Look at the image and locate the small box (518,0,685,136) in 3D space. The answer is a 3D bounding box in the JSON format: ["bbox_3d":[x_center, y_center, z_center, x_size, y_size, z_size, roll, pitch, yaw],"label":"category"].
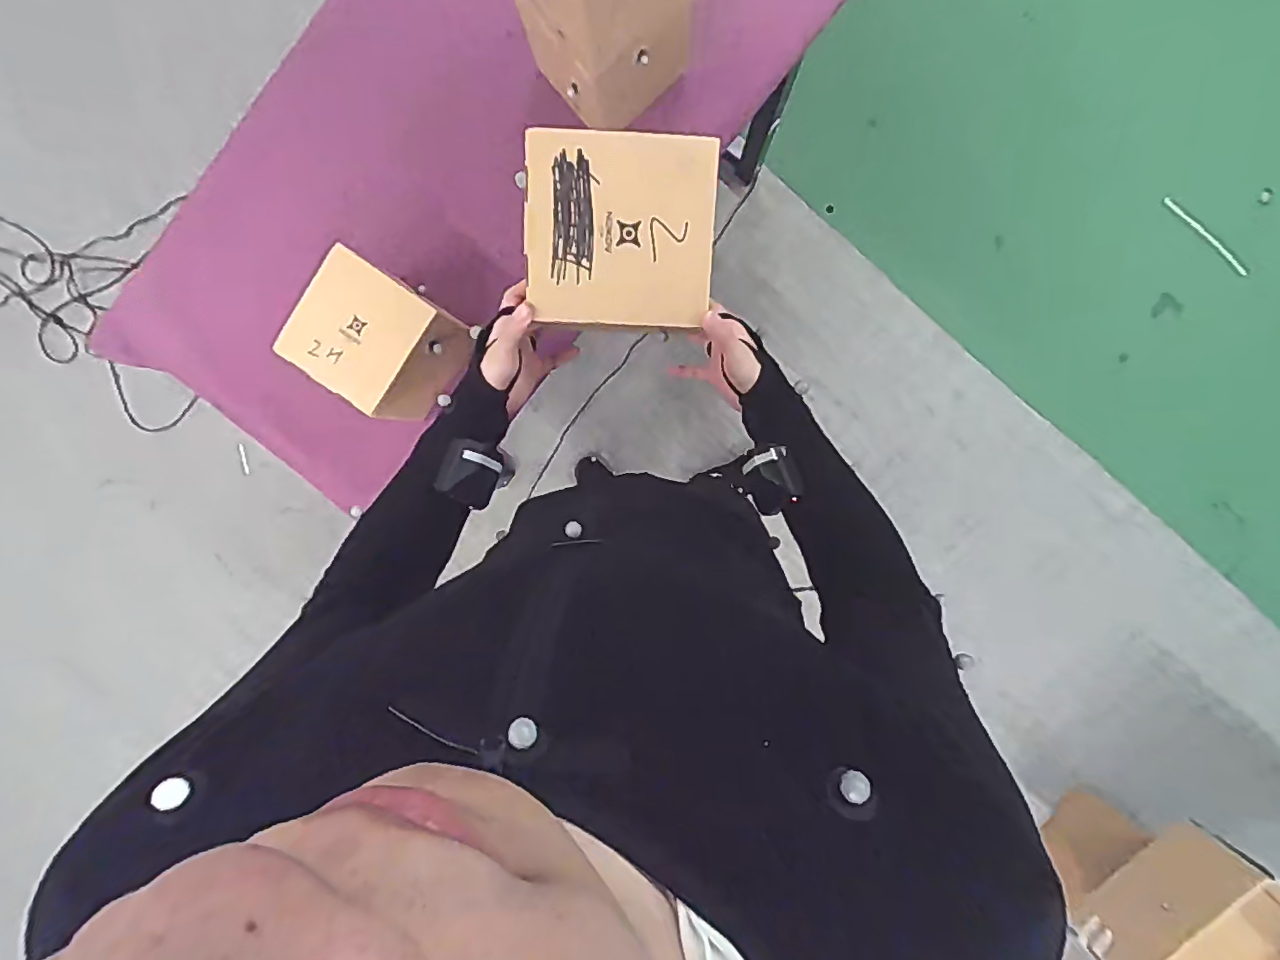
[{"bbox_3d":[-0.047,-0.638,0.758,0.179,0.176,0.168,-40,93,5],"label":"small box"}]

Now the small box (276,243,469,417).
[{"bbox_3d":[-0.381,-0.210,0.810,0.168,0.176,0.179,35,96,-1],"label":"small box"}]
